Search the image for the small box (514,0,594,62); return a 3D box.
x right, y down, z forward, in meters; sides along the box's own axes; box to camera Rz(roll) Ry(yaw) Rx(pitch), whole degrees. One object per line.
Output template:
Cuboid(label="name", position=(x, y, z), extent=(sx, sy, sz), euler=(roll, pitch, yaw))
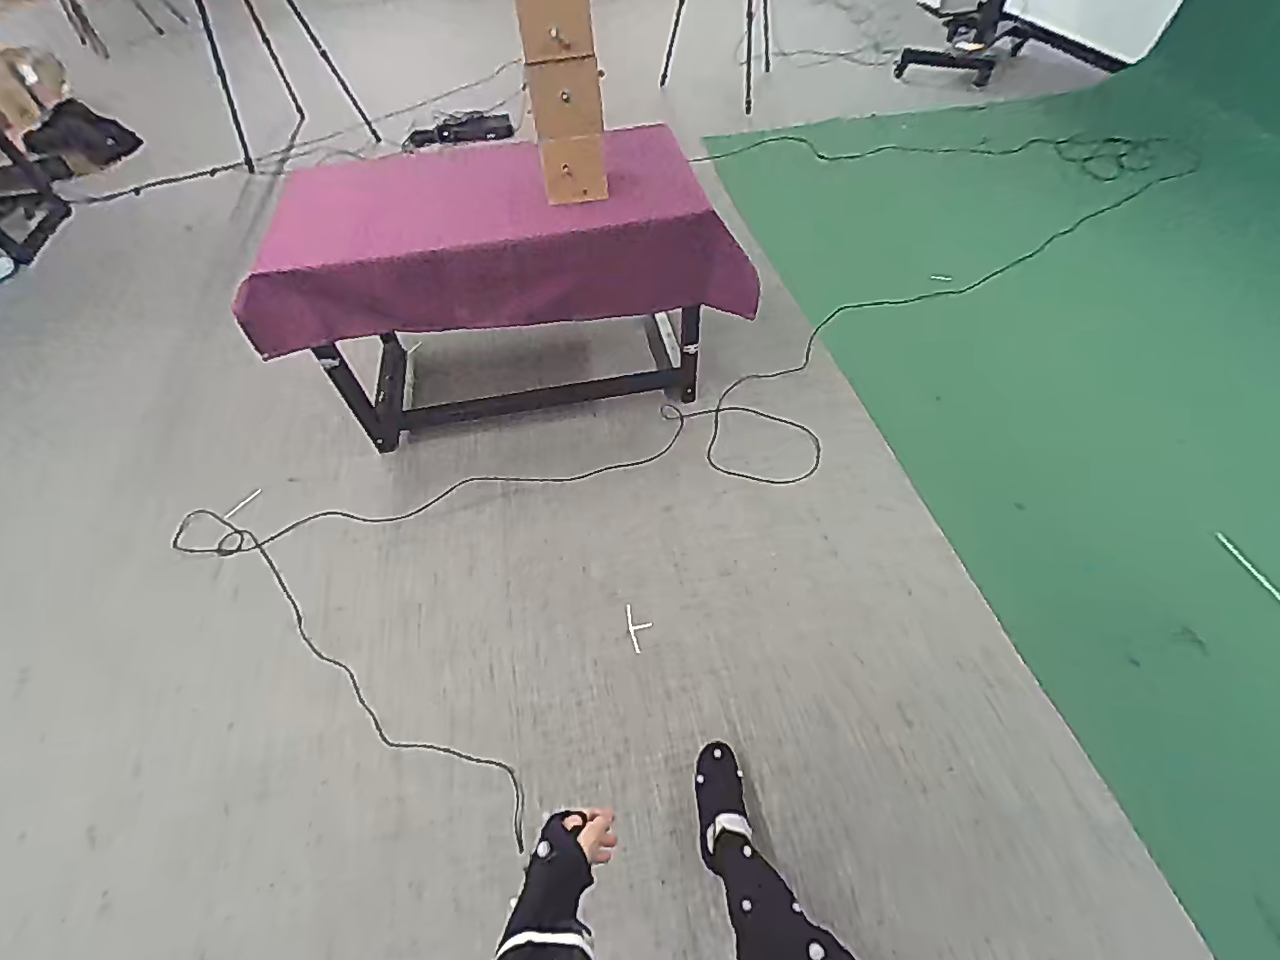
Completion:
Cuboid(label="small box", position=(-0.203, -1.091, 1.242), extent=(0.168, 0.176, 0.179), euler=(-10, 53, -3))

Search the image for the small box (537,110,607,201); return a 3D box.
Cuboid(label="small box", position=(-0.187, -0.896, 1.506), extent=(0.168, 0.176, 0.179), euler=(-9, 52, -3))
